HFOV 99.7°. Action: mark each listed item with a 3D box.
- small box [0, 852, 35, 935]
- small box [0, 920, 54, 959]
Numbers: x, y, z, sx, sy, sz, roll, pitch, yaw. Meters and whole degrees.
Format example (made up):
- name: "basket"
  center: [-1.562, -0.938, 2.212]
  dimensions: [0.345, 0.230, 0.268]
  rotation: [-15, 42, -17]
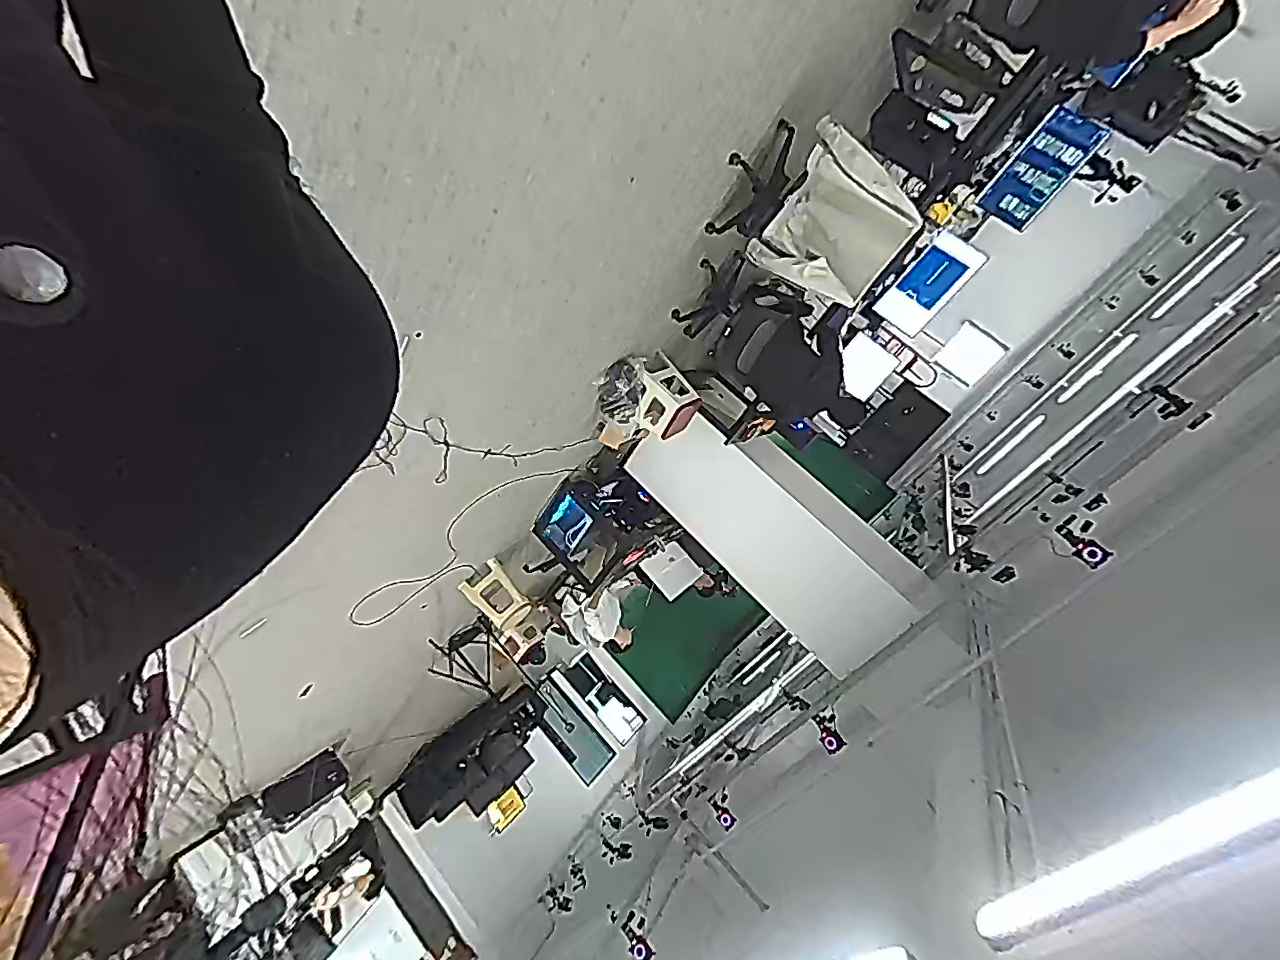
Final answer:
- name: "small box"
  center: [-1.394, 0.912, 1.103]
  dimensions: [0.179, 0.176, 0.168]
  rotation: [-53, 164, 25]
- name: "small box"
  center: [-1.283, 1.026, 1.064]
  dimensions: [0.179, 0.176, 0.168]
  rotation: [-52, 165, 25]
